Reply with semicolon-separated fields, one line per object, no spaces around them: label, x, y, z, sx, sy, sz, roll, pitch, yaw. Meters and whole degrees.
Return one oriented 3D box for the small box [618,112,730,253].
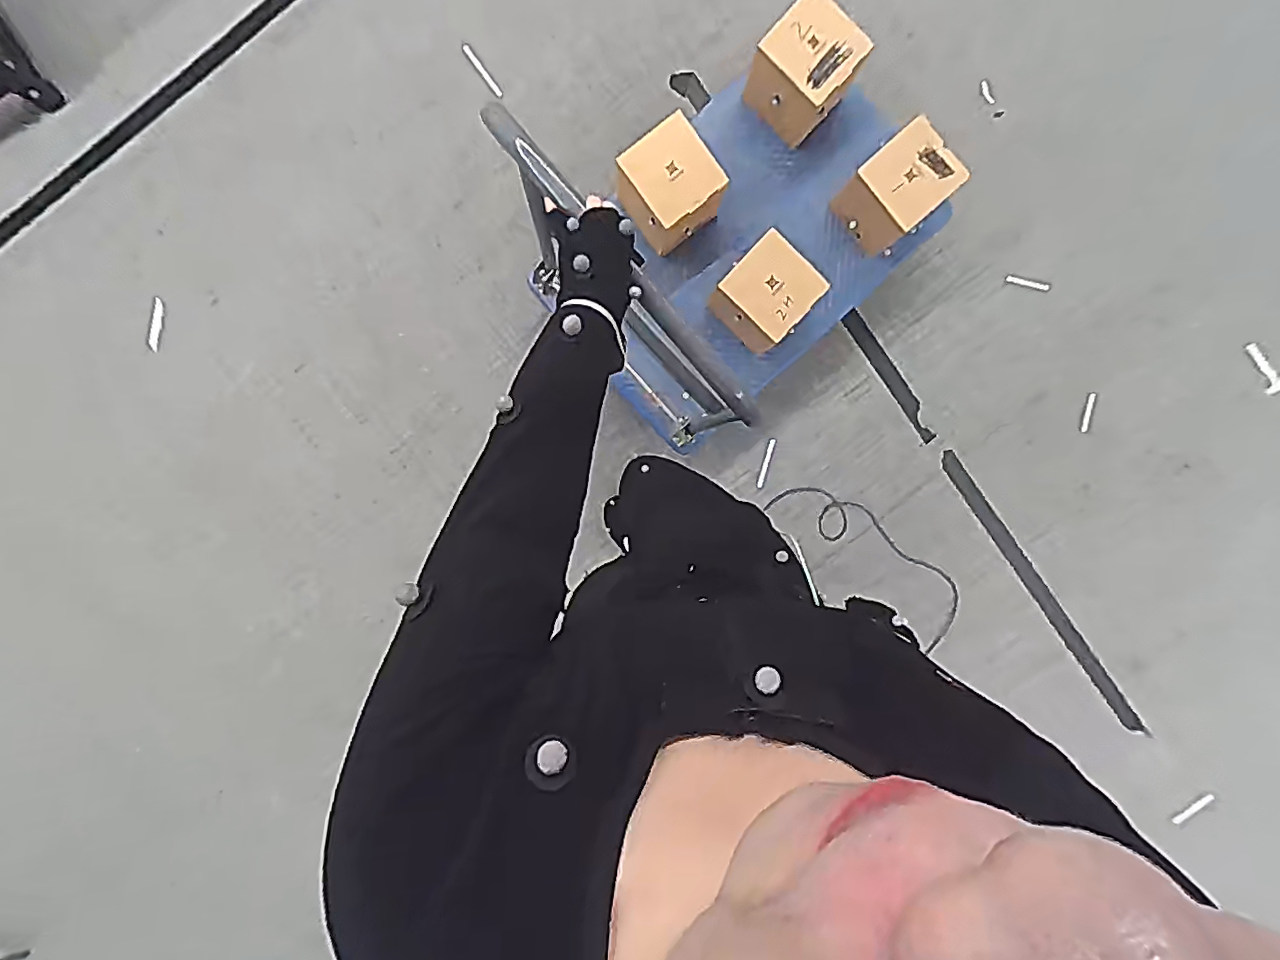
small box;0.065;-0.631;1.172;0.168;0.176;0.179;-38;96;1

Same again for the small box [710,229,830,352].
small box;0.274;-0.405;1.194;0.179;0.176;0.168;44;92;-4

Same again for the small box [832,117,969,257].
small box;0.557;-0.629;1.183;0.179;0.176;0.168;-41;94;3
